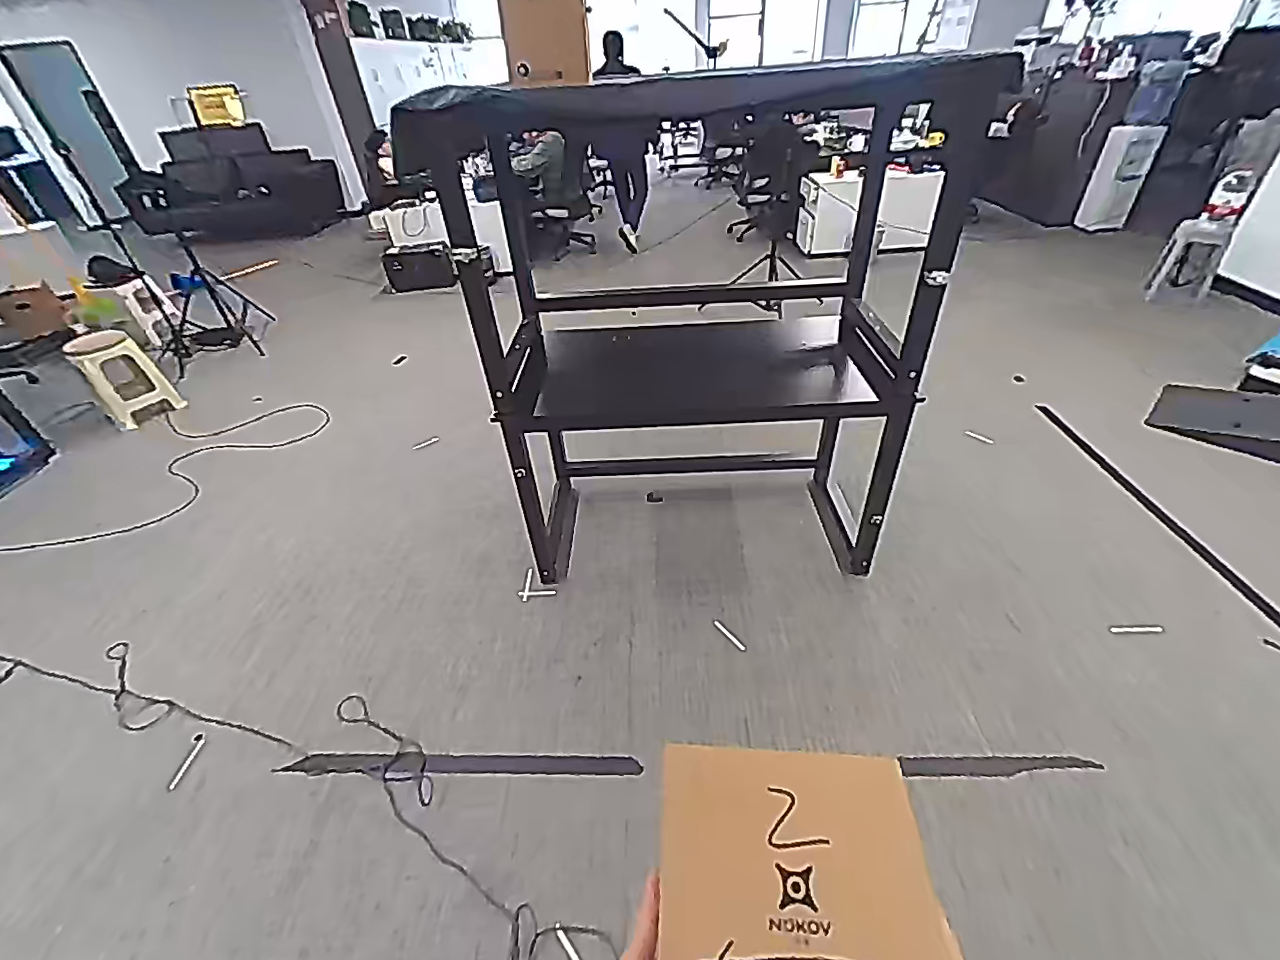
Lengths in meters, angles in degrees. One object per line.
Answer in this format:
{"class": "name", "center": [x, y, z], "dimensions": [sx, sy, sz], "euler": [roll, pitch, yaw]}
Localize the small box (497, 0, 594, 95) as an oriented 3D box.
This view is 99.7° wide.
{"class": "small box", "center": [-0.186, -0.905, 1.117], "dimensions": [0.168, 0.176, 0.179], "euler": [-3, 36, 0]}
